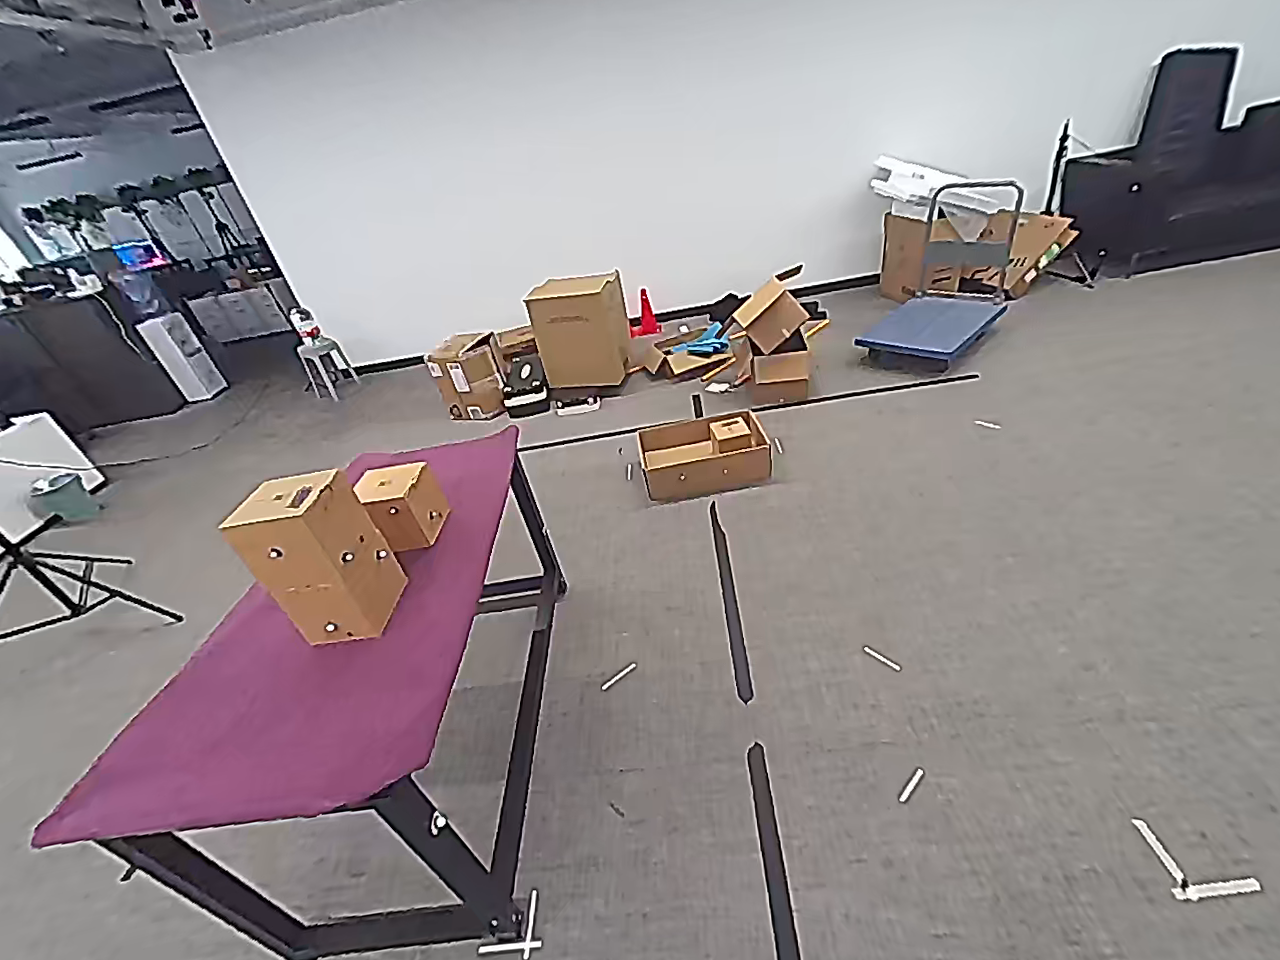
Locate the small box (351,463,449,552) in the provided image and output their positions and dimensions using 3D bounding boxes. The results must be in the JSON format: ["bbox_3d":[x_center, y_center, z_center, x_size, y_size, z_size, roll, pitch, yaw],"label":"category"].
[{"bbox_3d":[-0.641,0.079,1.437,0.179,0.176,0.168,-9,34,6],"label":"small box"}]

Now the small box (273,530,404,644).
[{"bbox_3d":[-0.654,0.238,1.205,0.168,0.176,0.179,-9,34,6],"label":"small box"}]

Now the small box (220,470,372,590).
[{"bbox_3d":[-0.692,0.105,1.115,0.179,0.176,0.168,-10,33,5],"label":"small box"}]
